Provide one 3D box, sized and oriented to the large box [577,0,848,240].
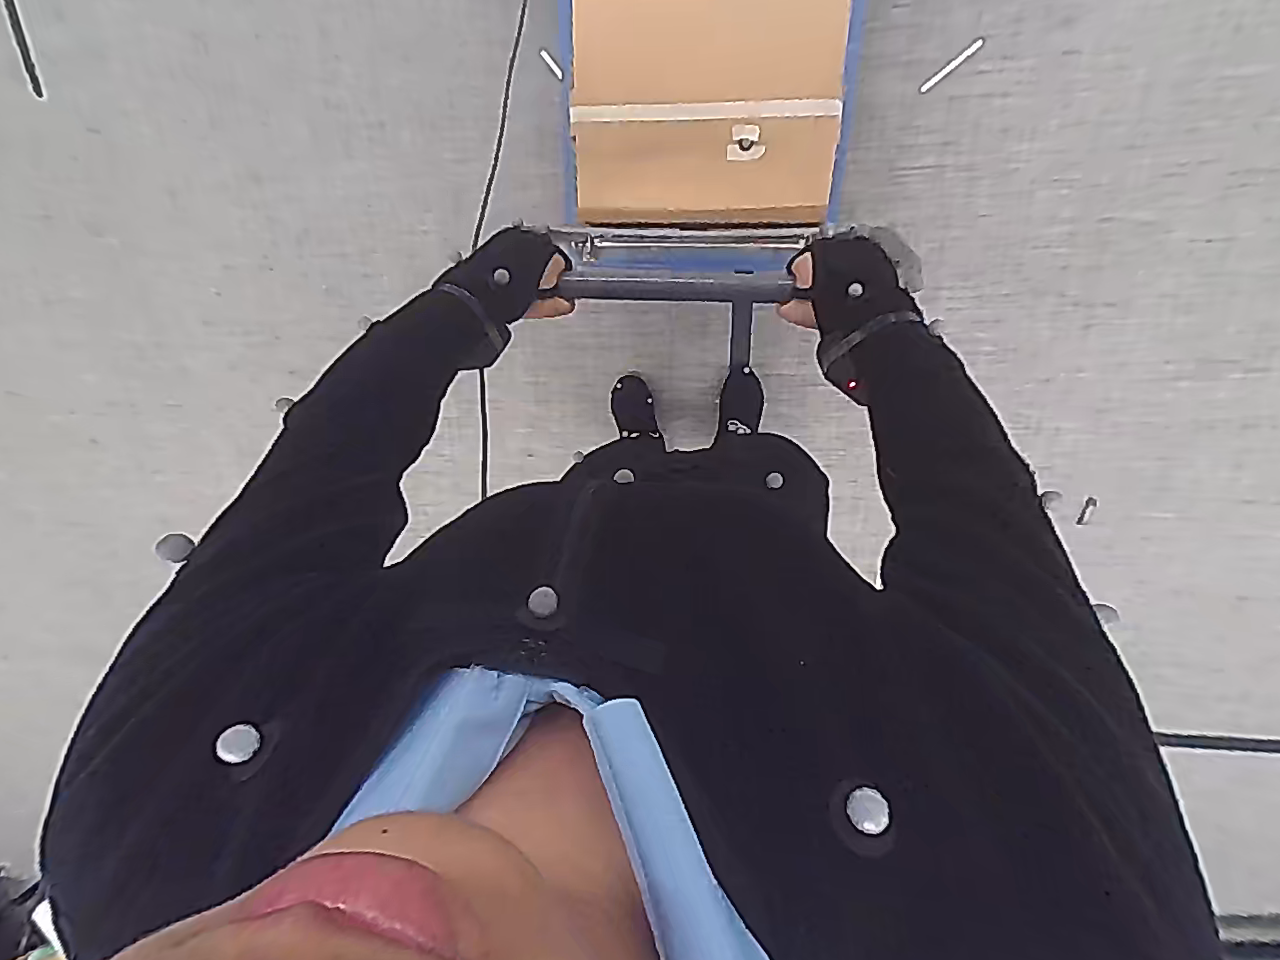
[{"bbox_3d":[0.117,-0.619,0.983,0.408,0.320,0.320,2,111,5],"label":"large box"}]
